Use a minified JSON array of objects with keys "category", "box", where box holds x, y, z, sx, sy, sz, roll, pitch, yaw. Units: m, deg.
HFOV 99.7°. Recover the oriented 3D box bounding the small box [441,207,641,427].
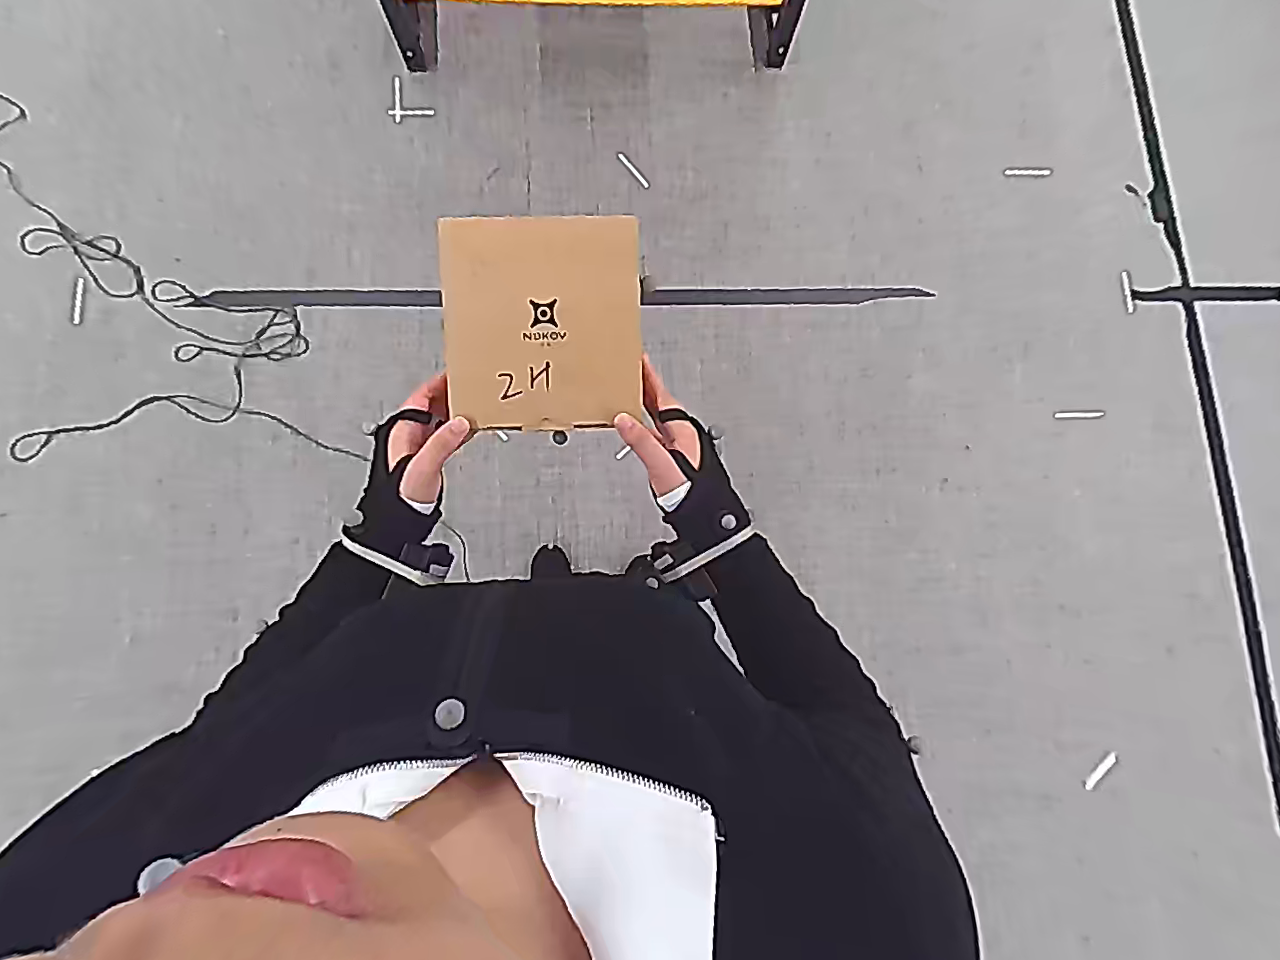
[{"category":"small box","box":[-0.086,-0.145,0.534,0.168,0.176,0.179,-2,94,-1]}]
